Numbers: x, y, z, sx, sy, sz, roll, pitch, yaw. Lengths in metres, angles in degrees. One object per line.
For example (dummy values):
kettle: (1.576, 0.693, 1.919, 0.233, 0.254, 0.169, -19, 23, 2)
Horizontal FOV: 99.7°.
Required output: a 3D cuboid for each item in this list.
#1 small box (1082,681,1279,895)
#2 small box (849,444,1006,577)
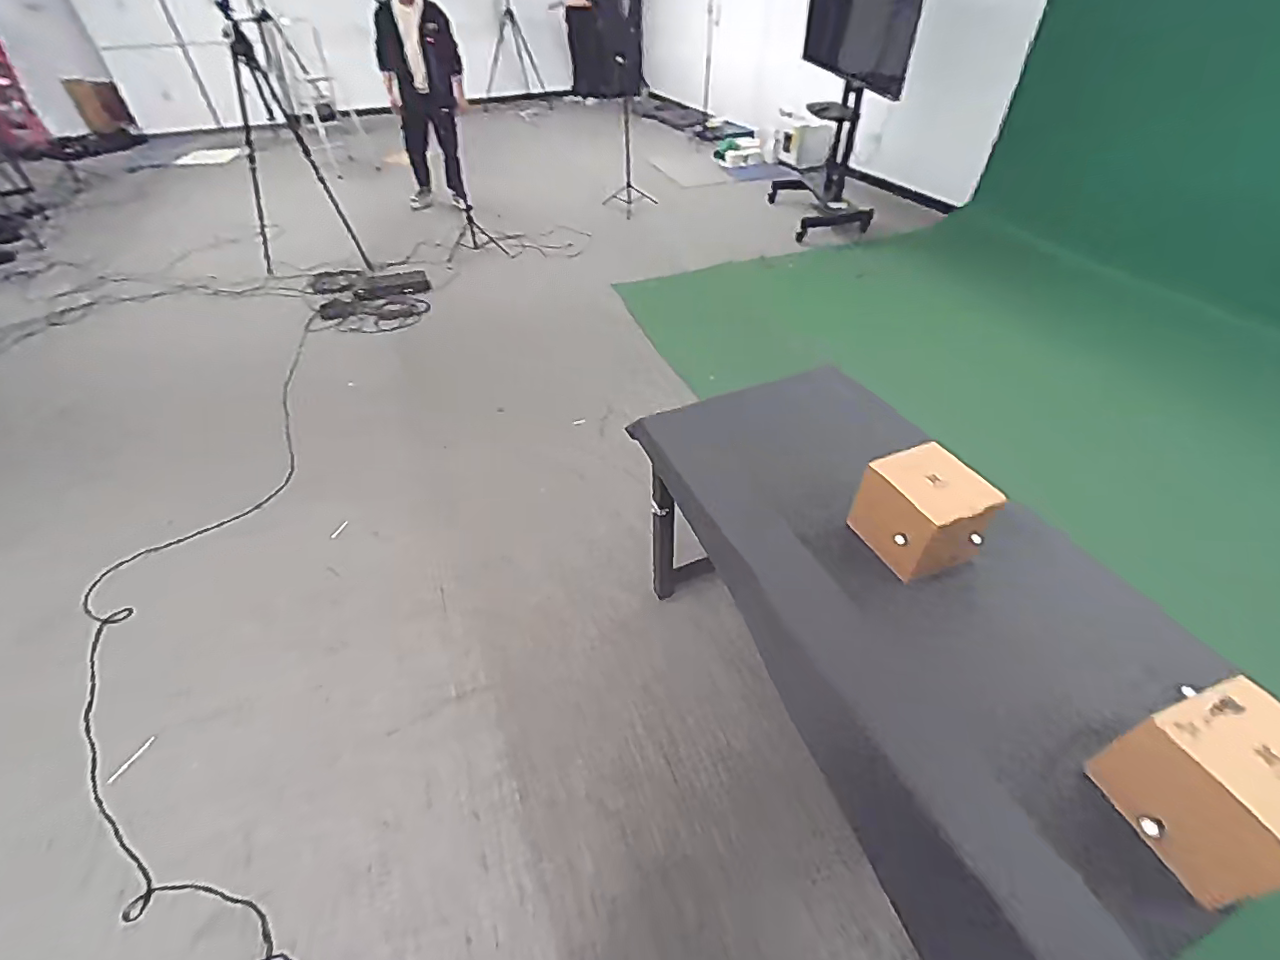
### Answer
small box: (0.733, 0.392, 0.684, 0.168, 0.176, 0.179, -14, 46, -13)
small box: (0.534, 0.063, 1.031, 0.168, 0.176, 0.179, -16, 45, -18)
